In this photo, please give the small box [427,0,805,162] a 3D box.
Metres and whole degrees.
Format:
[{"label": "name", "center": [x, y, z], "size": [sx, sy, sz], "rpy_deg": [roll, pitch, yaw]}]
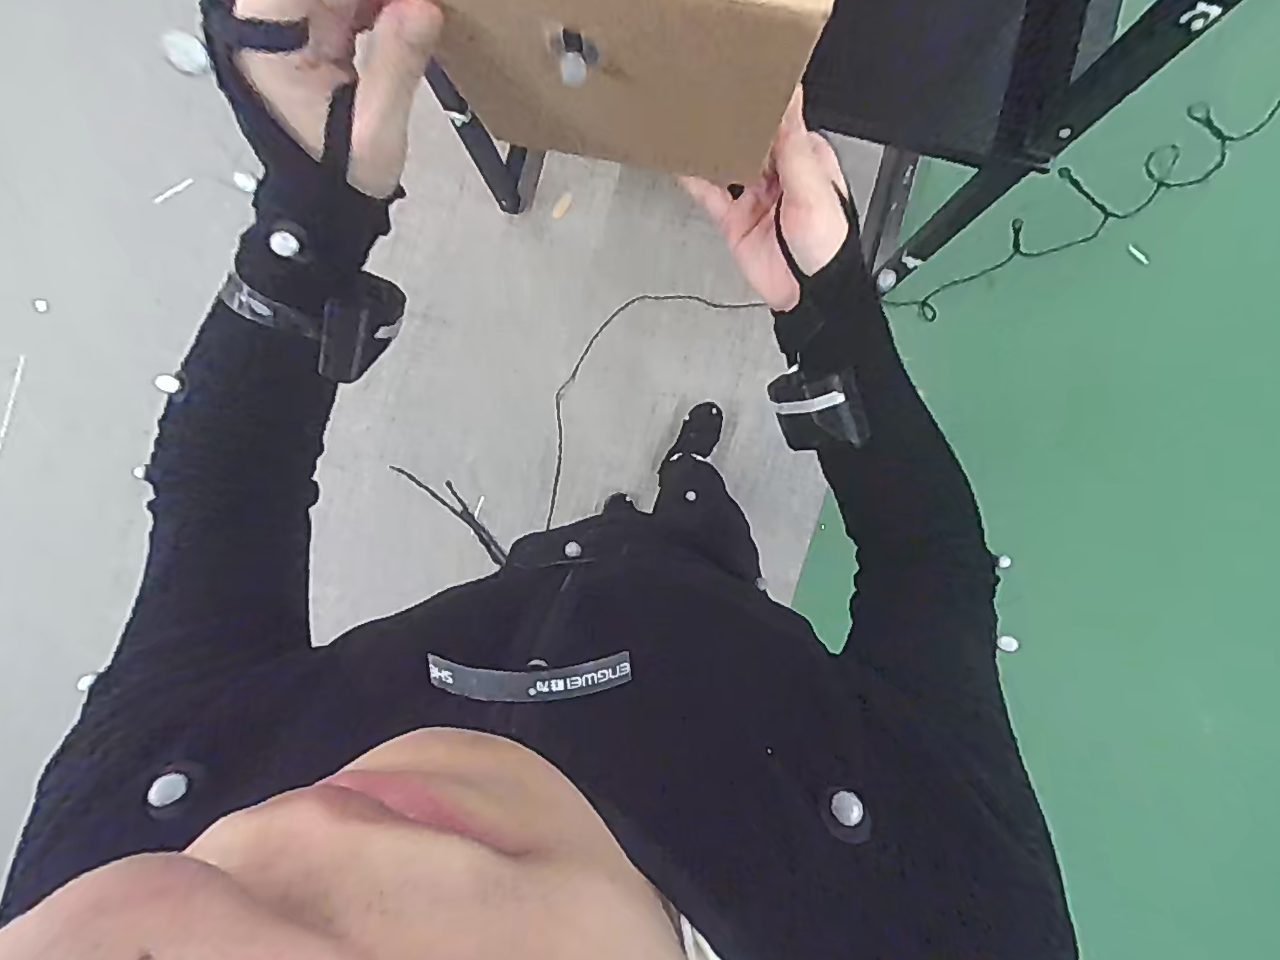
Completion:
[{"label": "small box", "center": [-0.003, -0.276, 0.253], "size": [0.179, 0.176, 0.168], "rpy_deg": [11, 102, 2]}]
